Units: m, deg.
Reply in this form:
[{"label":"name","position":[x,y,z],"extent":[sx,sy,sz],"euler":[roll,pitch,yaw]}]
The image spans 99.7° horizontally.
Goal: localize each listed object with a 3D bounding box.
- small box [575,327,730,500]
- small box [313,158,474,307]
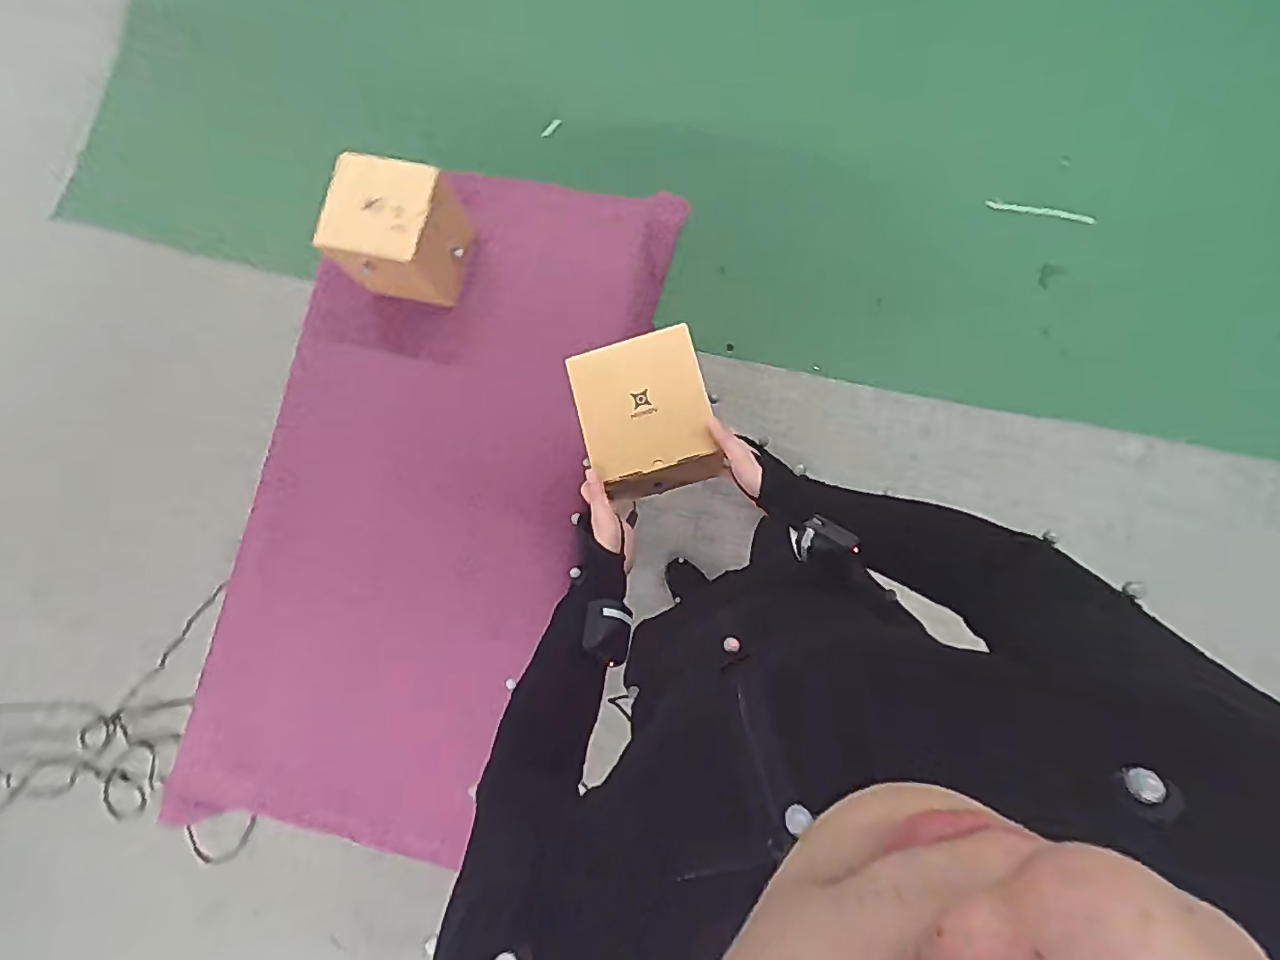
[{"label":"small box","position":[0.020,-0.082,0.756],"extent":[0.168,0.176,0.179],"euler":[-15,80,4]},{"label":"small box","position":[-0.422,-0.424,0.951],"extent":[0.179,0.176,0.168],"euler":[13,85,6]}]
